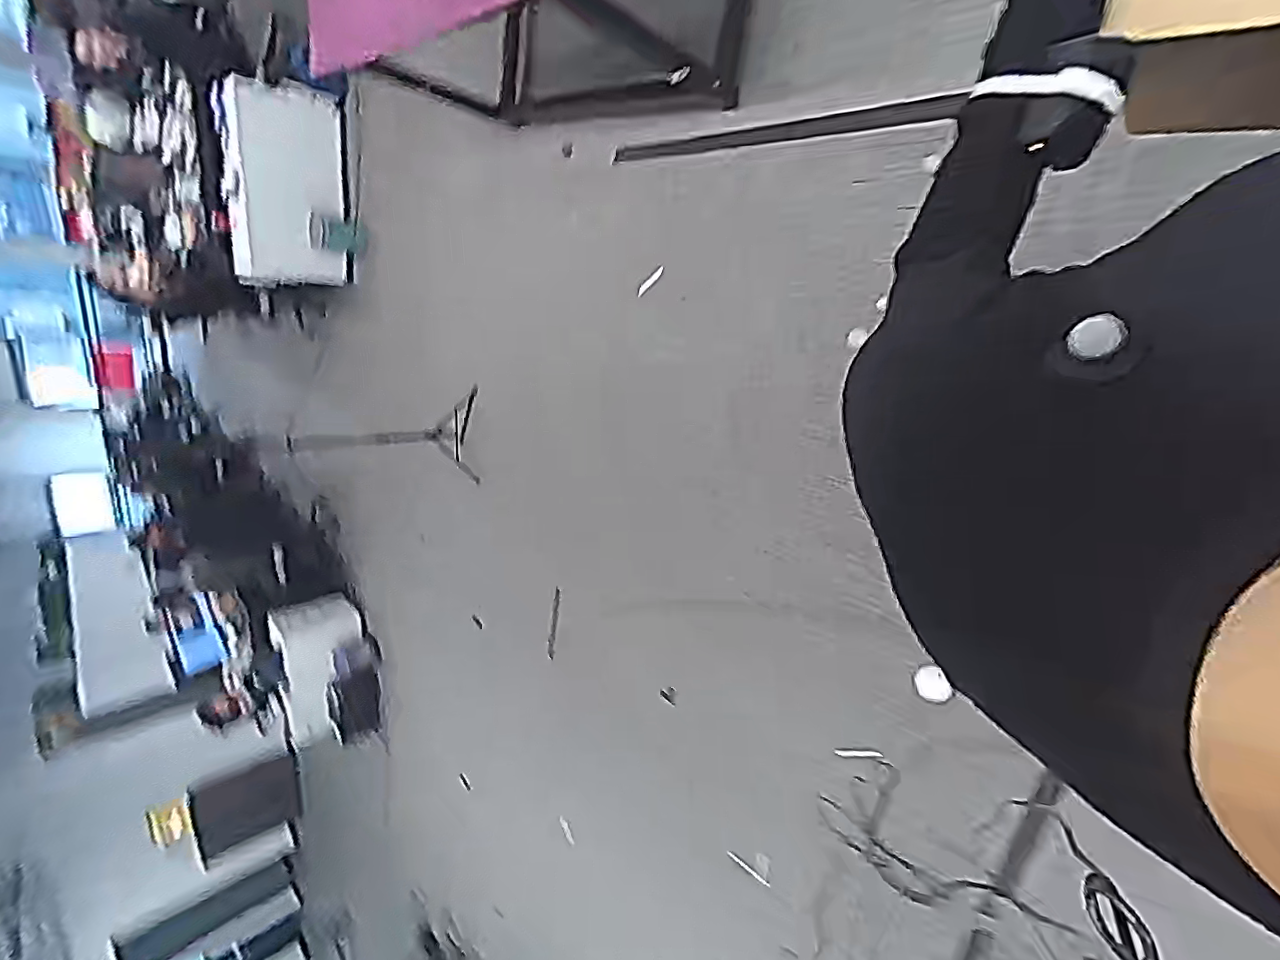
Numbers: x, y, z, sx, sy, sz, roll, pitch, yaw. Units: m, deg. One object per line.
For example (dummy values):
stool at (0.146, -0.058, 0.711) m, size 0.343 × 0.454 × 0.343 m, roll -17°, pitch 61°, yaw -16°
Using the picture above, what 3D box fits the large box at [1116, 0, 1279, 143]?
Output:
large box at (0.574, -0.404, 0.298) m, size 0.408 × 0.320 × 0.320 m, roll 23°, pitch 119°, yaw 36°
